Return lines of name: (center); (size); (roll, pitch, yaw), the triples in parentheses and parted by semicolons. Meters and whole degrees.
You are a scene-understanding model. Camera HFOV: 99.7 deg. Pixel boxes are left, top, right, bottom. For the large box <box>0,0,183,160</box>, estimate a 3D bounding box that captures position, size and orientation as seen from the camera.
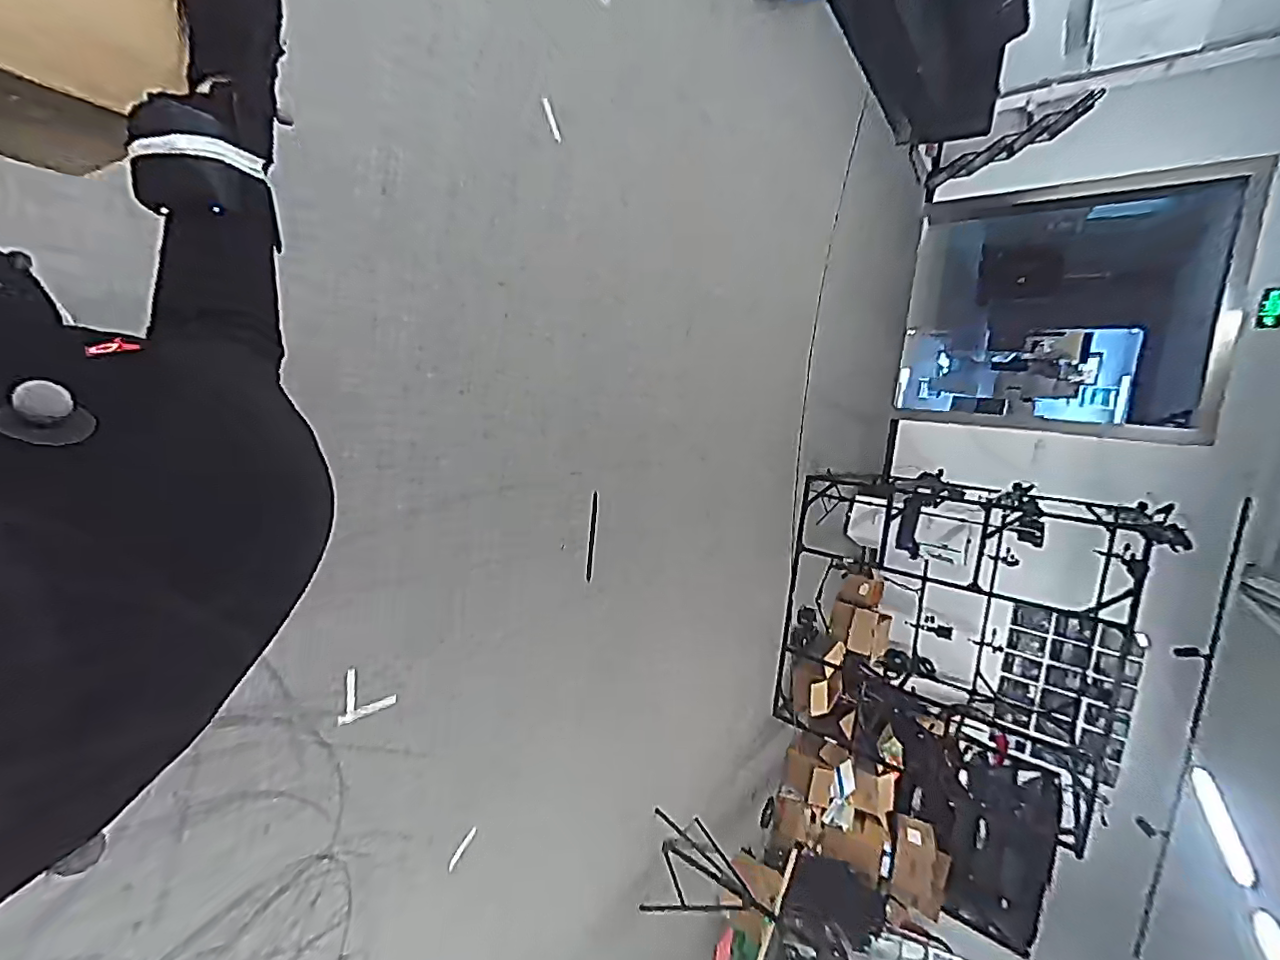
large box: (-0.553, -0.431, 0.291); (0.408, 0.320, 0.320); (-5, 108, -57)
